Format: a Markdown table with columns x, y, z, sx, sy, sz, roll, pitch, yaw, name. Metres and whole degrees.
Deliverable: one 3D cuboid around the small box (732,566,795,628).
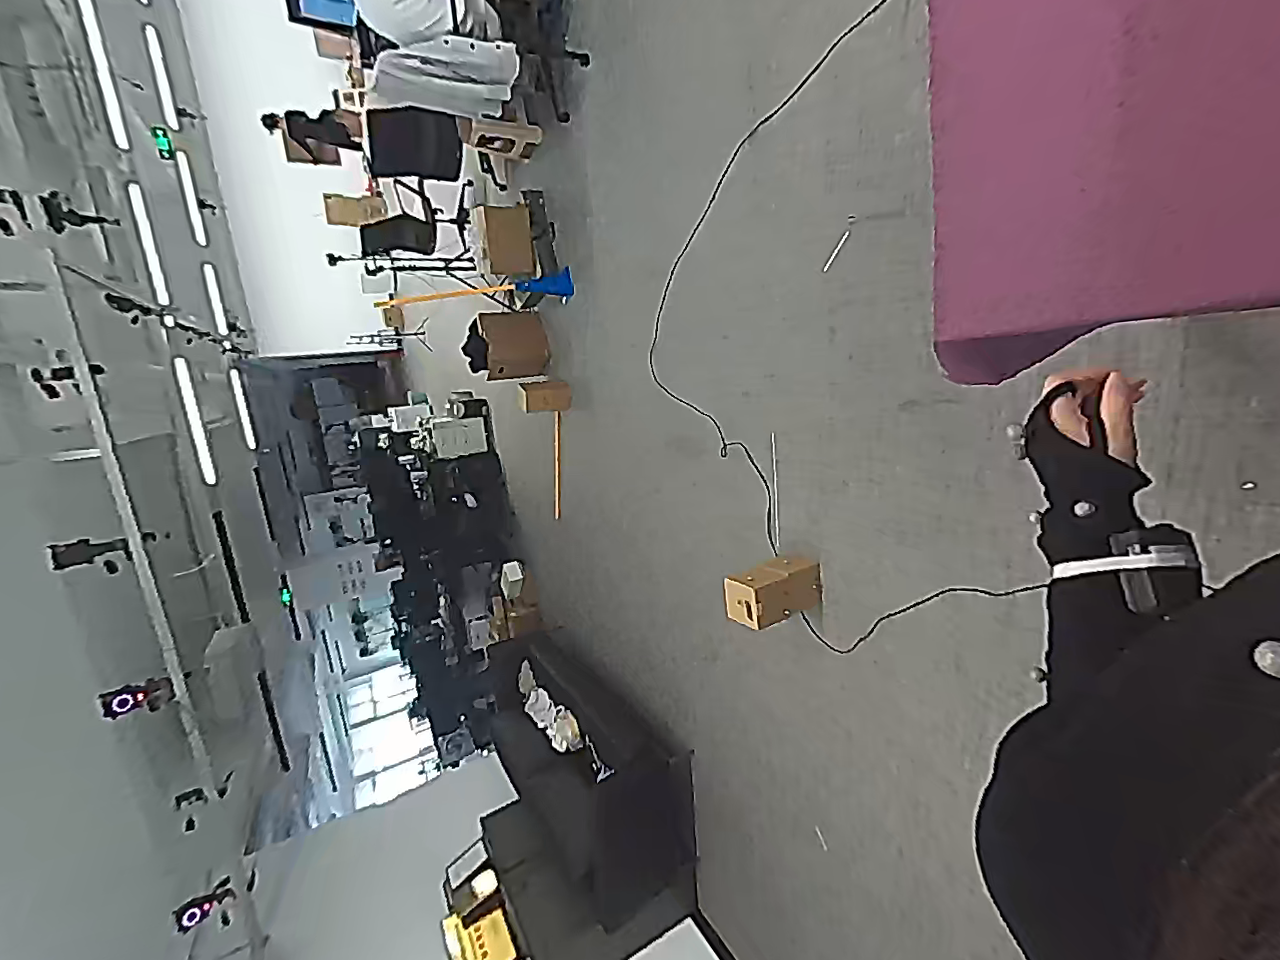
| x | y | z | sx | sy | sz | roll | pitch | yaw | name |
| --- | --- | --- | --- | --- | --- | --- | --- | --- | --- |
| 0.478 | 0.440 | 2.065 | 0.179 | 0.176 | 0.168 | 11 | 110 | 62 | small box |
